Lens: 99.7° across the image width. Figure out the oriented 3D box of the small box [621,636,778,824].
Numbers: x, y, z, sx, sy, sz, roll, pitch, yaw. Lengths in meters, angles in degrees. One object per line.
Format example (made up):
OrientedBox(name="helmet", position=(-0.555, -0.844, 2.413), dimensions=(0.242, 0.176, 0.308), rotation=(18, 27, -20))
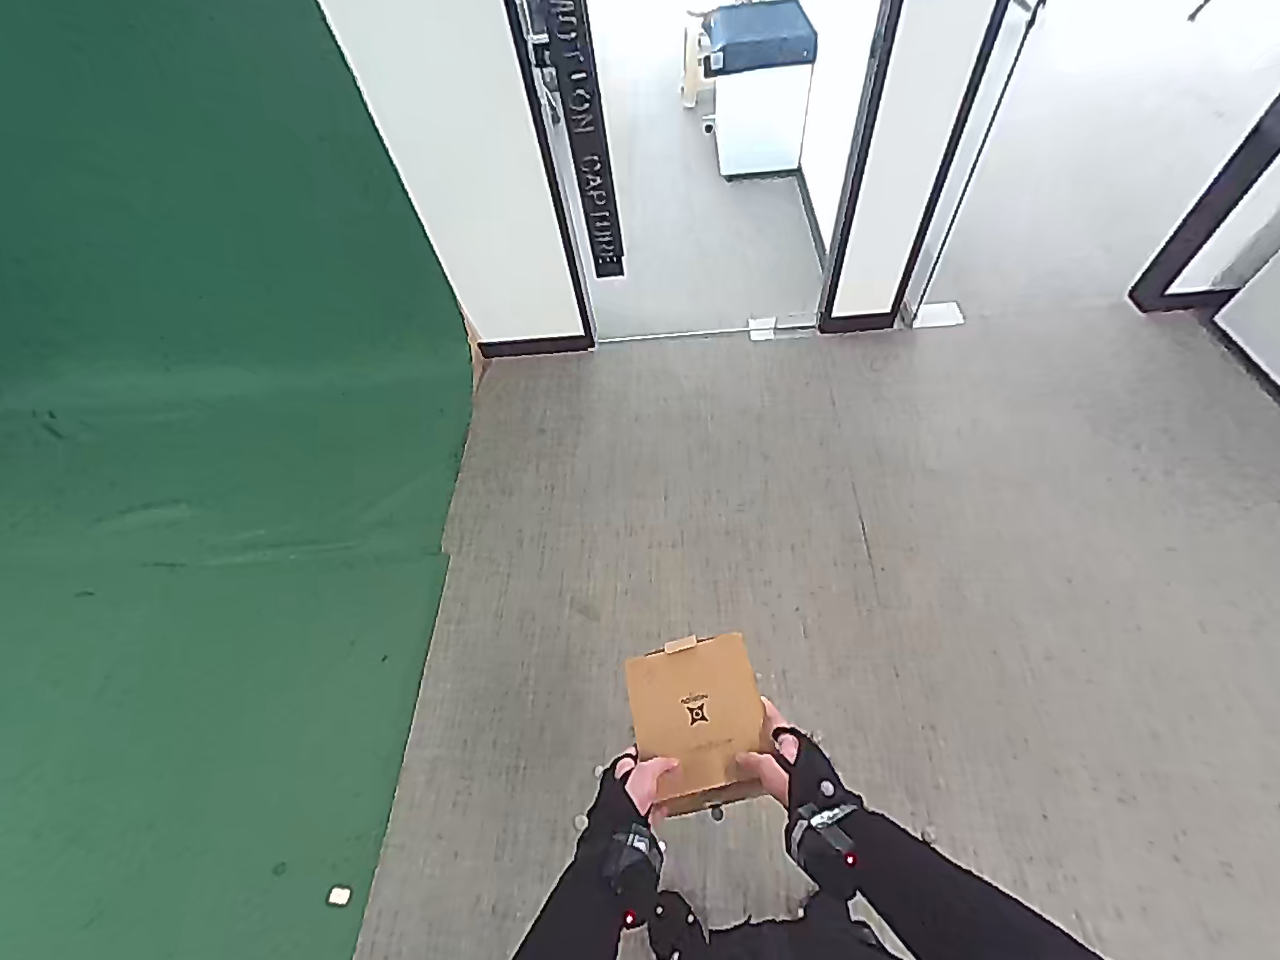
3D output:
OrientedBox(name="small box", position=(0.080, 0.336, 0.721), dimensions=(0.168, 0.176, 0.179), rotation=(-15, 51, 5))
